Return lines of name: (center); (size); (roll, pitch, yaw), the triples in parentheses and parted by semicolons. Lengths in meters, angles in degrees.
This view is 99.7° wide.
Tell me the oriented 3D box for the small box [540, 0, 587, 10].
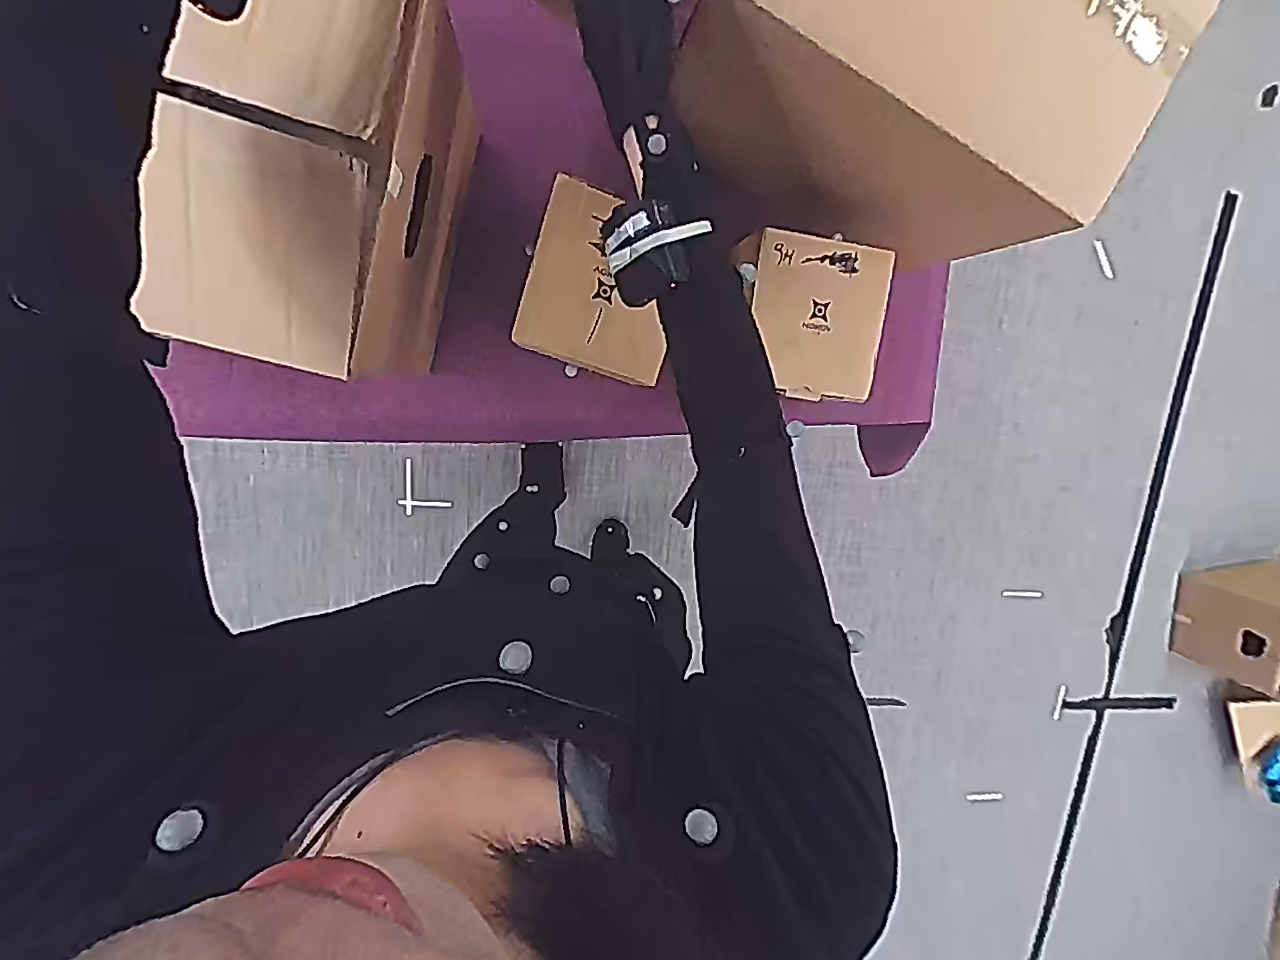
small box: (-0.077, -0.481, 0.380); (0.179, 0.176, 0.168); (19, 112, -25)
